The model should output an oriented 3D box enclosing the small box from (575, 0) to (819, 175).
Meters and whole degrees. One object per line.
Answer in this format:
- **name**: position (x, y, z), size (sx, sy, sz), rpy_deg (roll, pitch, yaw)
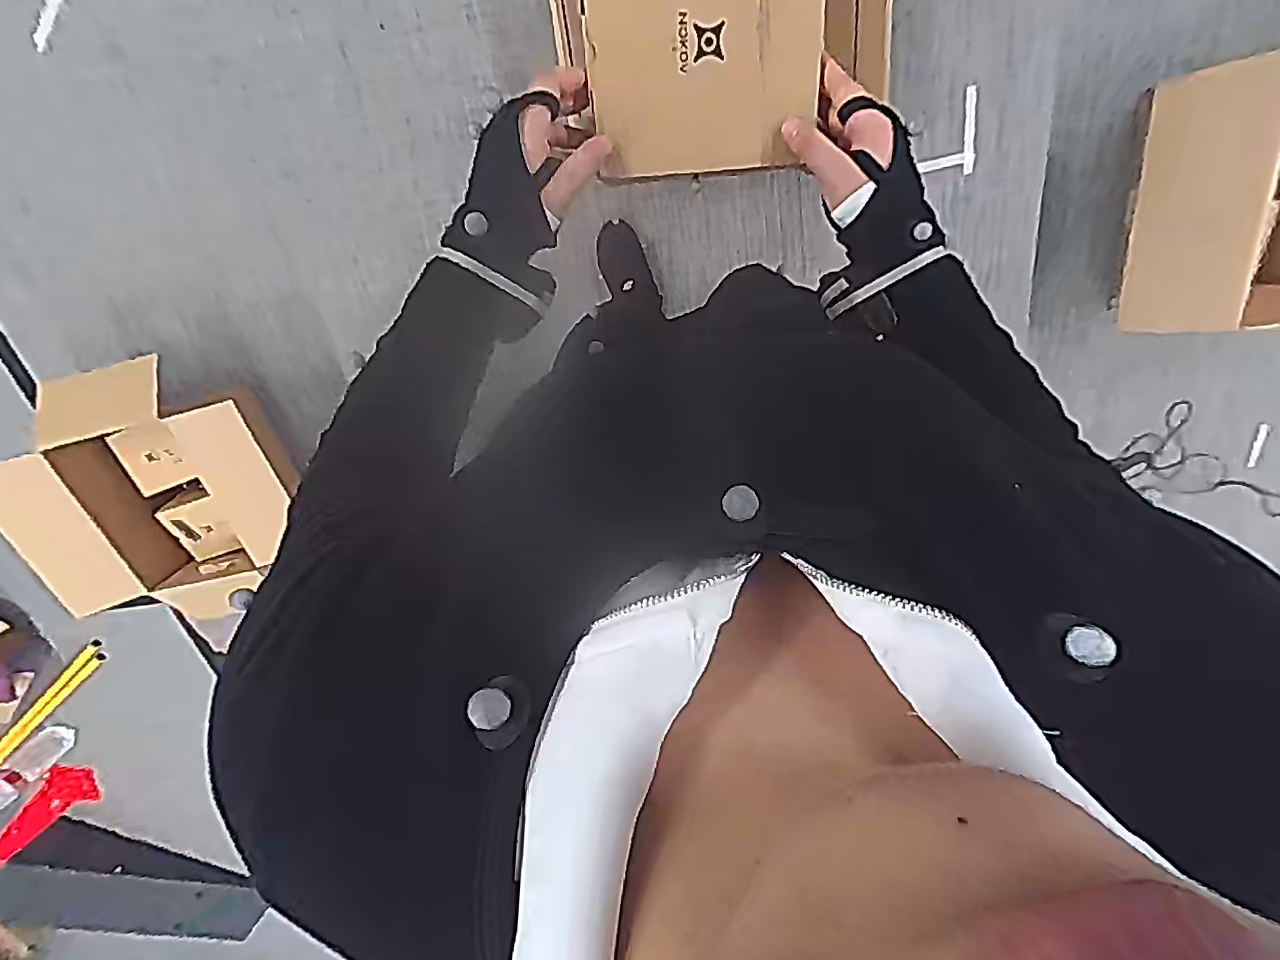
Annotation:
- **small box**: position (0.040, -0.364, 0.462), size (0.179, 0.176, 0.168), rpy_deg (-5, 118, 0)
